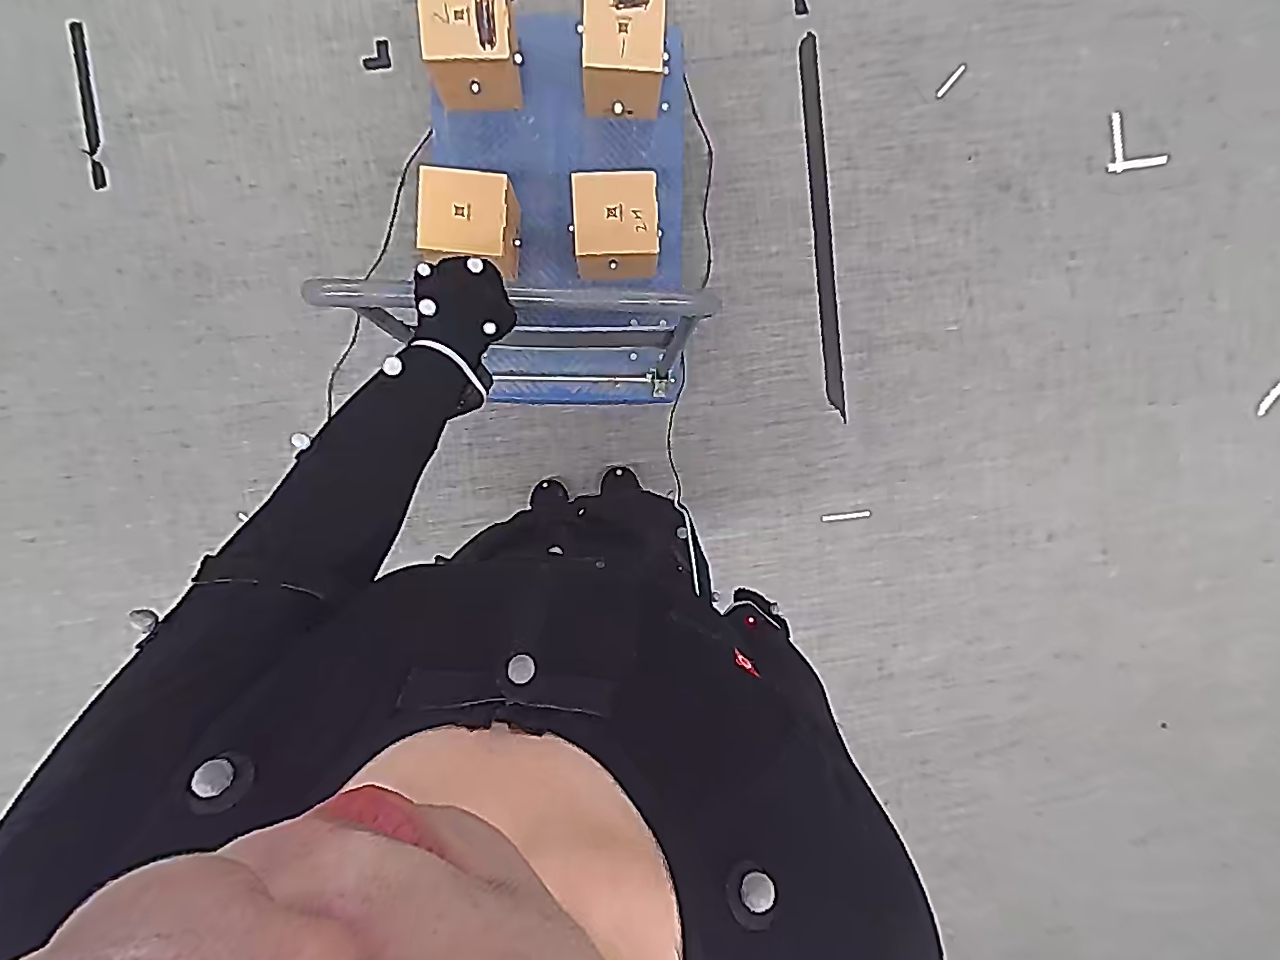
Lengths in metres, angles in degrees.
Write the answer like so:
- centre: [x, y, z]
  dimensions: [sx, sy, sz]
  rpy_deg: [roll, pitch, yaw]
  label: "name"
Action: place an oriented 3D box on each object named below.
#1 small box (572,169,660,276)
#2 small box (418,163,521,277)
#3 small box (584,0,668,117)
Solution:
- centre: [-0.051, -0.555, 1.182]
  dimensions: [0.179, 0.176, 0.168]
  rpy_deg: [-3, 94, -3]
  label: "small box"
- centre: [-0.361, -0.551, 1.166]
  dimensions: [0.179, 0.176, 0.168]
  rpy_deg: [3, 94, -5]
  label: "small box"
- centre: [-0.034, -0.923, 1.156]
  dimensions: [0.168, 0.176, 0.179]
  rpy_deg: [2, 95, -3]
  label: "small box"
